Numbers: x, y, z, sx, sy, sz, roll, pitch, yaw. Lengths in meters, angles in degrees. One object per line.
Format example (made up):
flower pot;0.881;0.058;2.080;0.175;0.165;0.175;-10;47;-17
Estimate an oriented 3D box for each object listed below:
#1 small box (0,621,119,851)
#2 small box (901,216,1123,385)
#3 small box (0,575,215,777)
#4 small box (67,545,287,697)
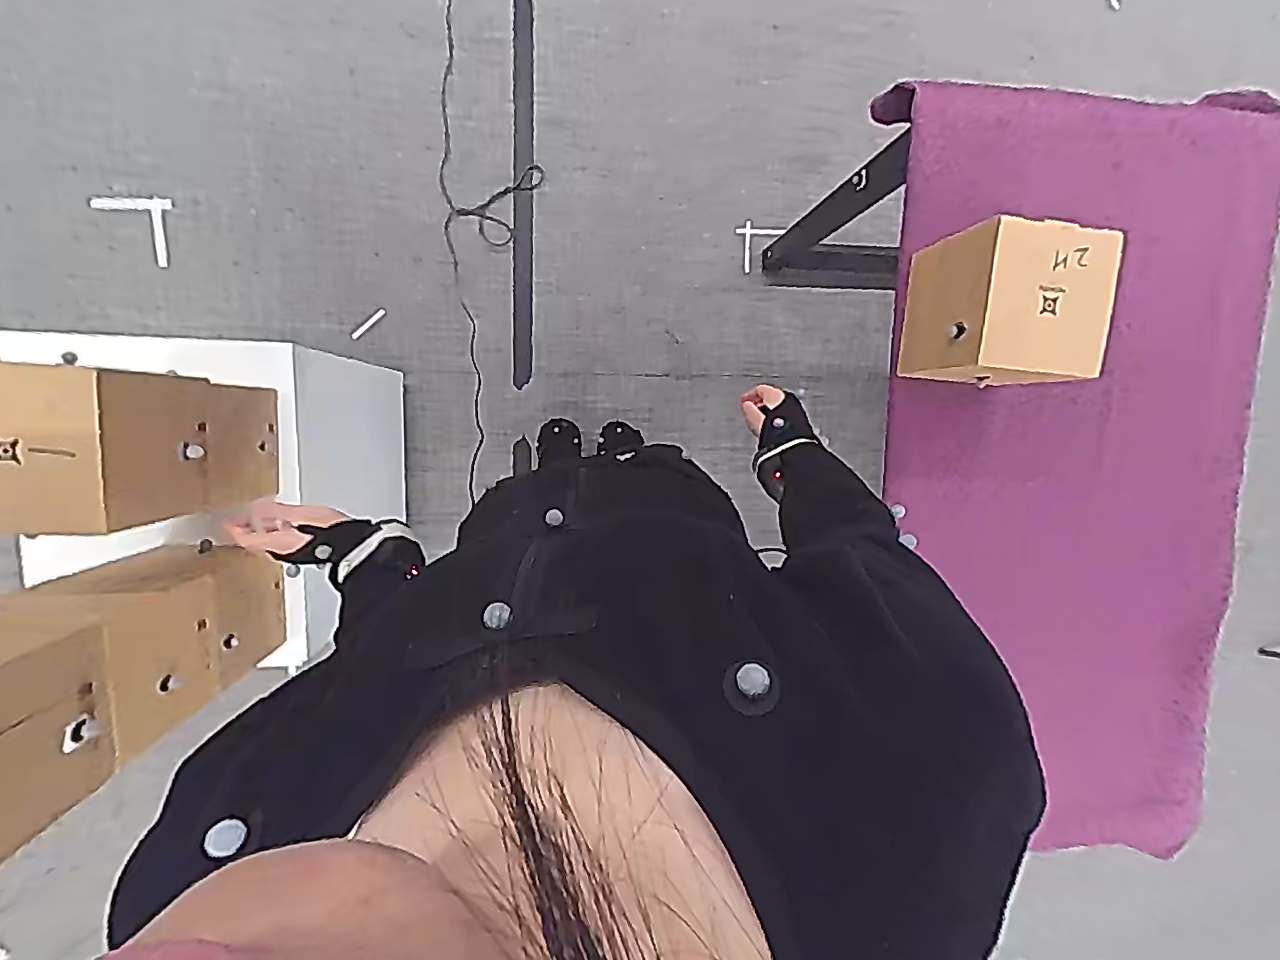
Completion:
small box;-0.600;0.226;0.447;0.179;0.176;0.168;-1;98;-7
small box;0.476;-0.222;0.720;0.168;0.176;0.179;4;96;-8
small box;-0.618;0.209;0.607;0.179;0.176;0.168;0;97;-7
small box;-0.639;0.192;0.768;0.179;0.176;0.168;1;96;-6
